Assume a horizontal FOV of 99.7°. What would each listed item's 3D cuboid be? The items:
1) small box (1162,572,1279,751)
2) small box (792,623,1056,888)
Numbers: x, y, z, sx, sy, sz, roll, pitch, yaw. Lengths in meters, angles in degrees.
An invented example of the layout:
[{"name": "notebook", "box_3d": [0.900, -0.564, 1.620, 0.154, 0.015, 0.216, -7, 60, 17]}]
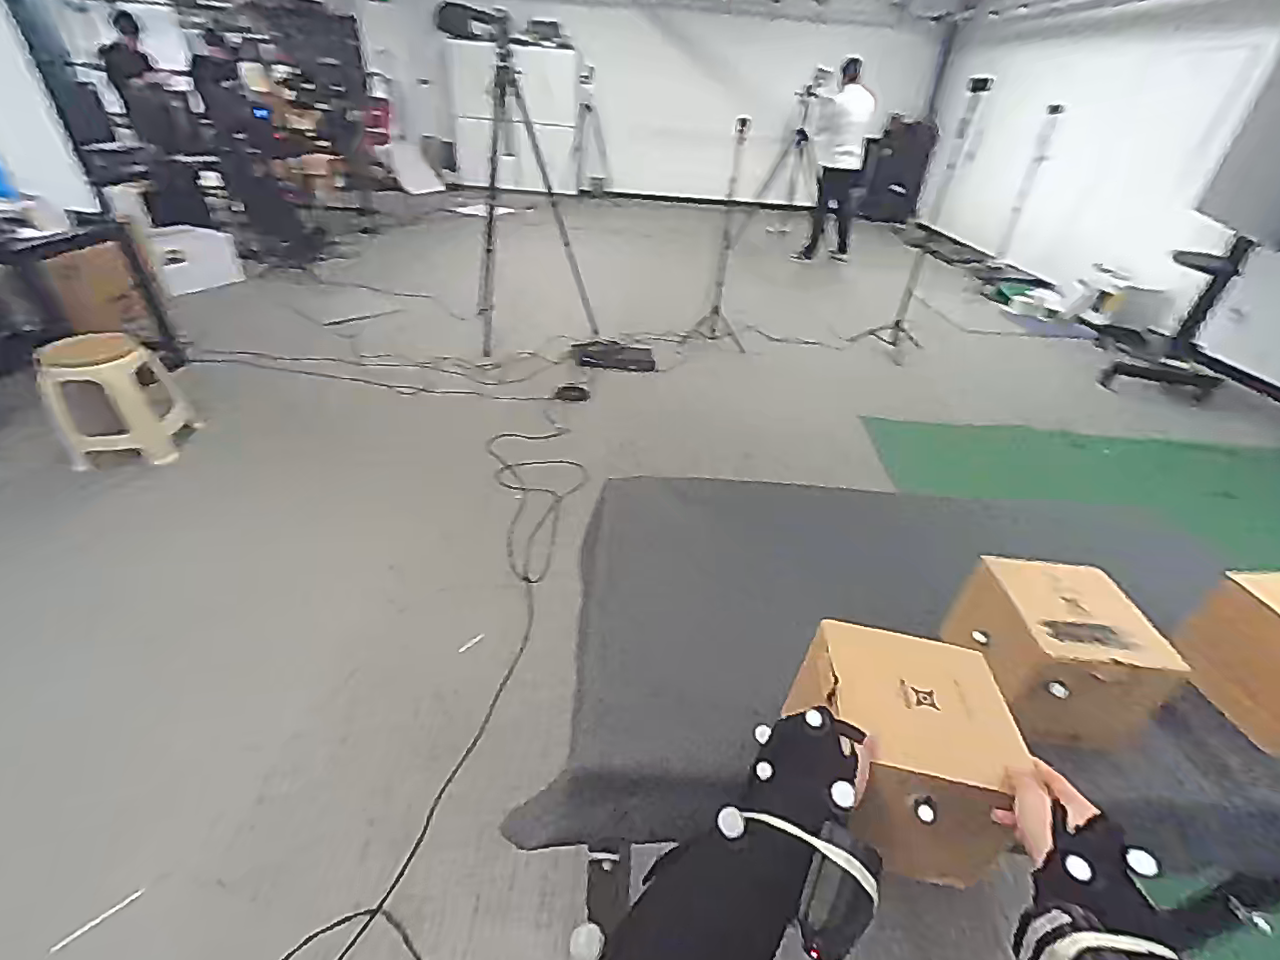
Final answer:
[{"name": "small box", "box_3d": [0.908, 0.248, 0.752, 0.168, 0.176, 0.179, 0, 35, -5]}, {"name": "small box", "box_3d": [0.265, 0.283, 0.562, 0.179, 0.176, 0.168, 12, 31, 4]}]
